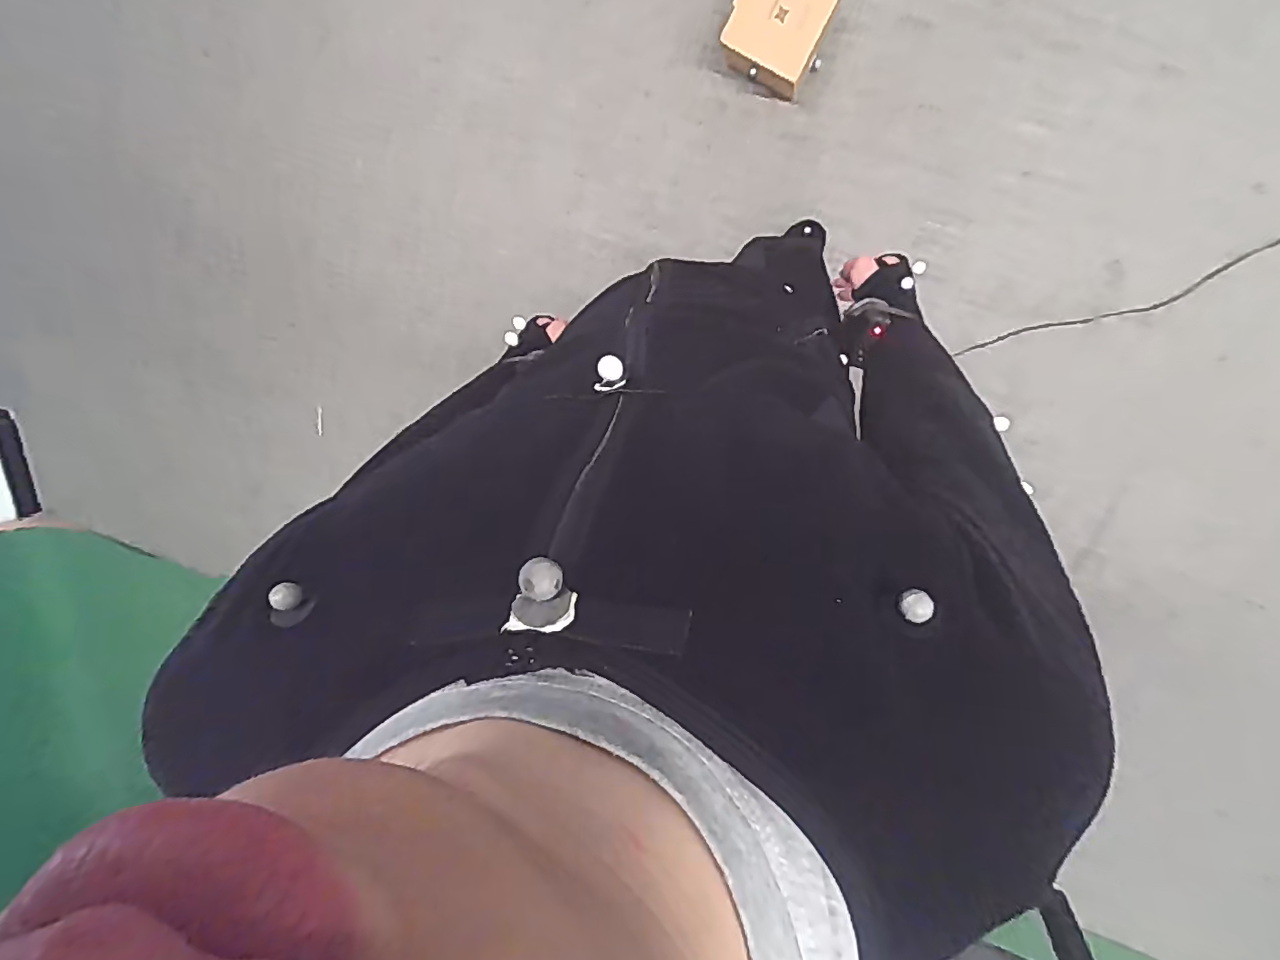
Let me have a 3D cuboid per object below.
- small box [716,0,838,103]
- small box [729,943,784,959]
[{"bbox_3d":[0.278,-0.911,1.109,0.179,0.176,0.168,29,118,-1],"label":"small box"},{"bbox_3d":[0.271,1.208,1.220,0.168,0.176,0.179,18,115,6],"label":"small box"}]
